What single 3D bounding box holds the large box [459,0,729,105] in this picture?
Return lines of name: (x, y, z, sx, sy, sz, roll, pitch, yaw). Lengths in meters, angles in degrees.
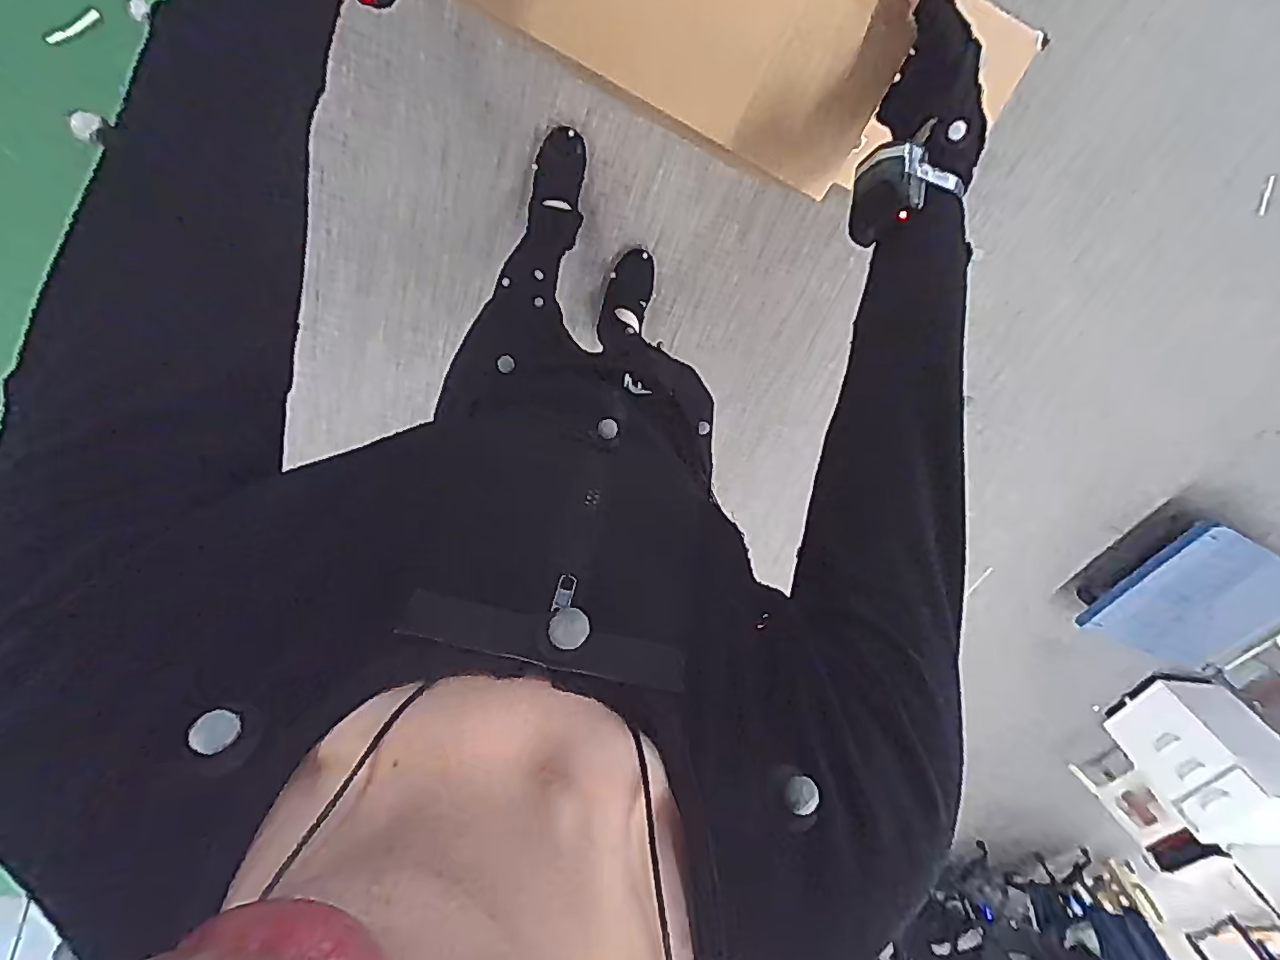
large box: (-0.052, -0.888, 0.912, 0.408, 0.320, 0.320, 15, 122, -15)
